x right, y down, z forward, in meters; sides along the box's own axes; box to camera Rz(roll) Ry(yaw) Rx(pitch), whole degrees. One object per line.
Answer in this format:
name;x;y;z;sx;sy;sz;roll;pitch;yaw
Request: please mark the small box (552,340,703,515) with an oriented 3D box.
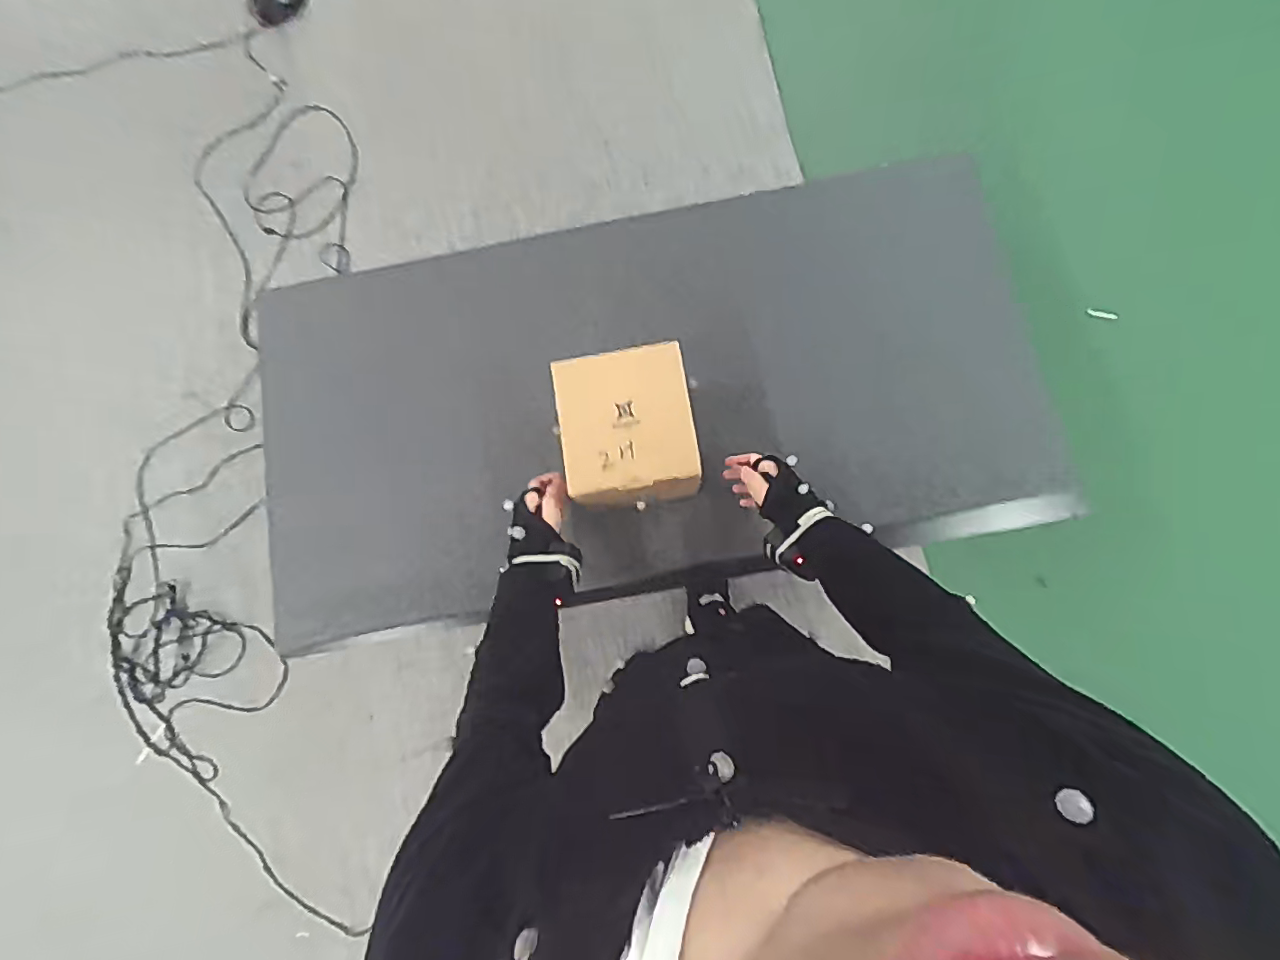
small box;-0.013;-0.060;0.725;0.168;0.176;0.179;-9;78;2
